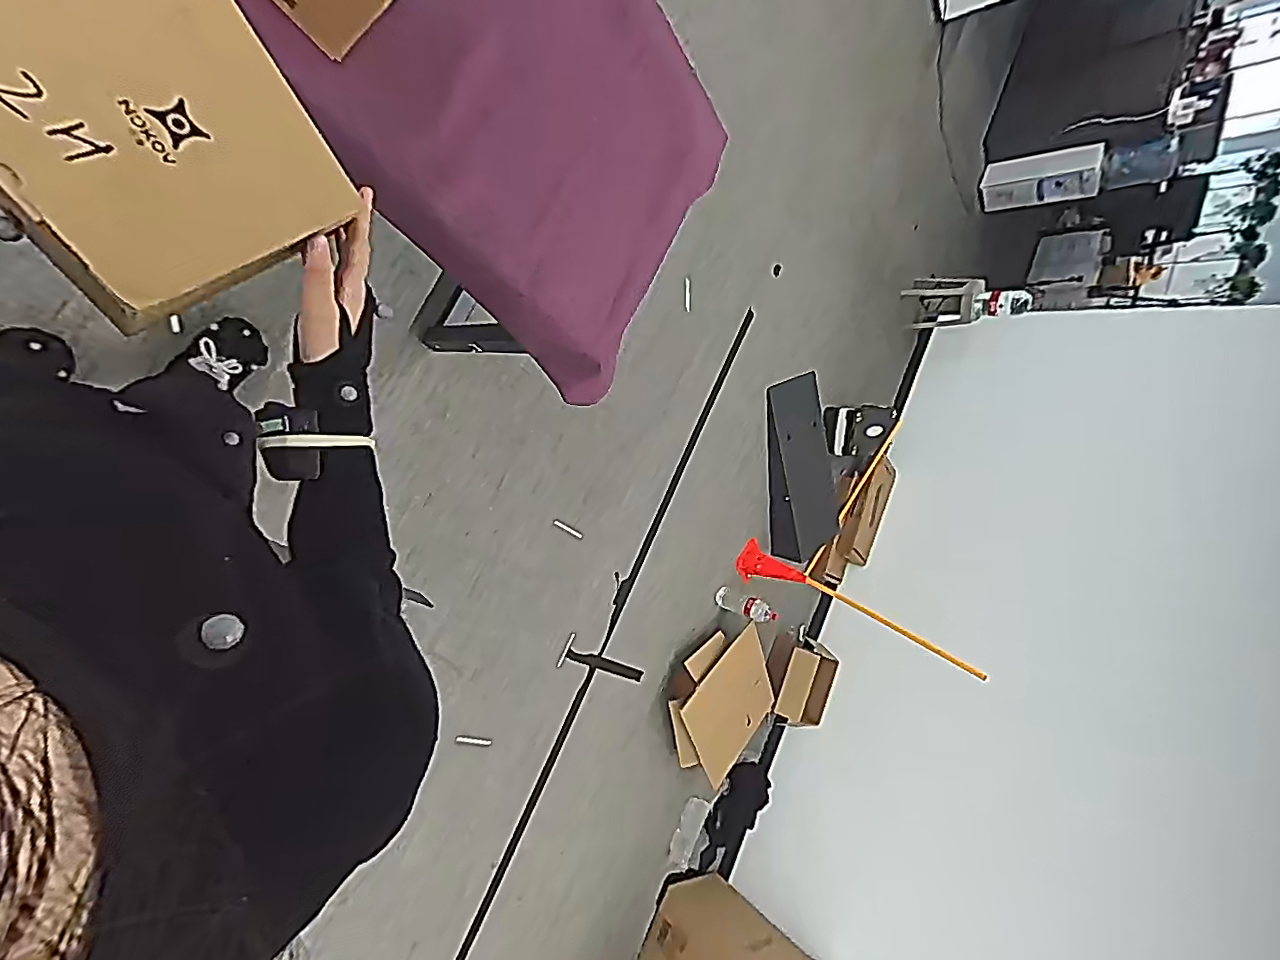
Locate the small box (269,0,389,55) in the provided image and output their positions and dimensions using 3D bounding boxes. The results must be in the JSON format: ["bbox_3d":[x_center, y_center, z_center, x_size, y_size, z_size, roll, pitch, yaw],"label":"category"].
[{"bbox_3d":[-0.328,-0.605,0.562,0.168,0.176,0.179,36,73,-45],"label":"small box"}]
